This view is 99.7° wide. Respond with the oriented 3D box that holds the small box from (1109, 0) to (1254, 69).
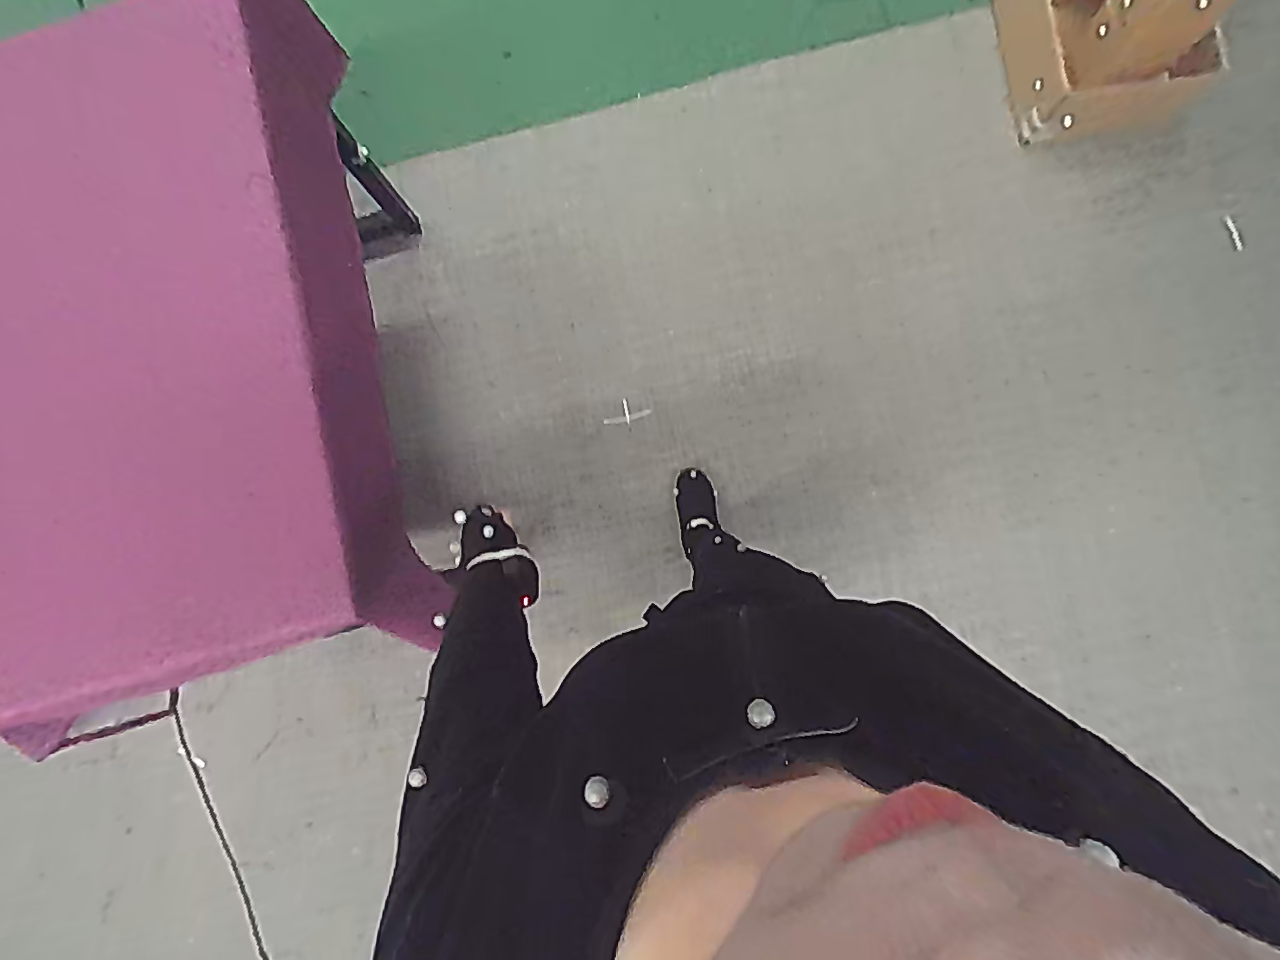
[{"bbox_3d":[1.288,-1.135,1.292,0.179,0.176,0.168,-5,81,5],"label":"small box"}]
